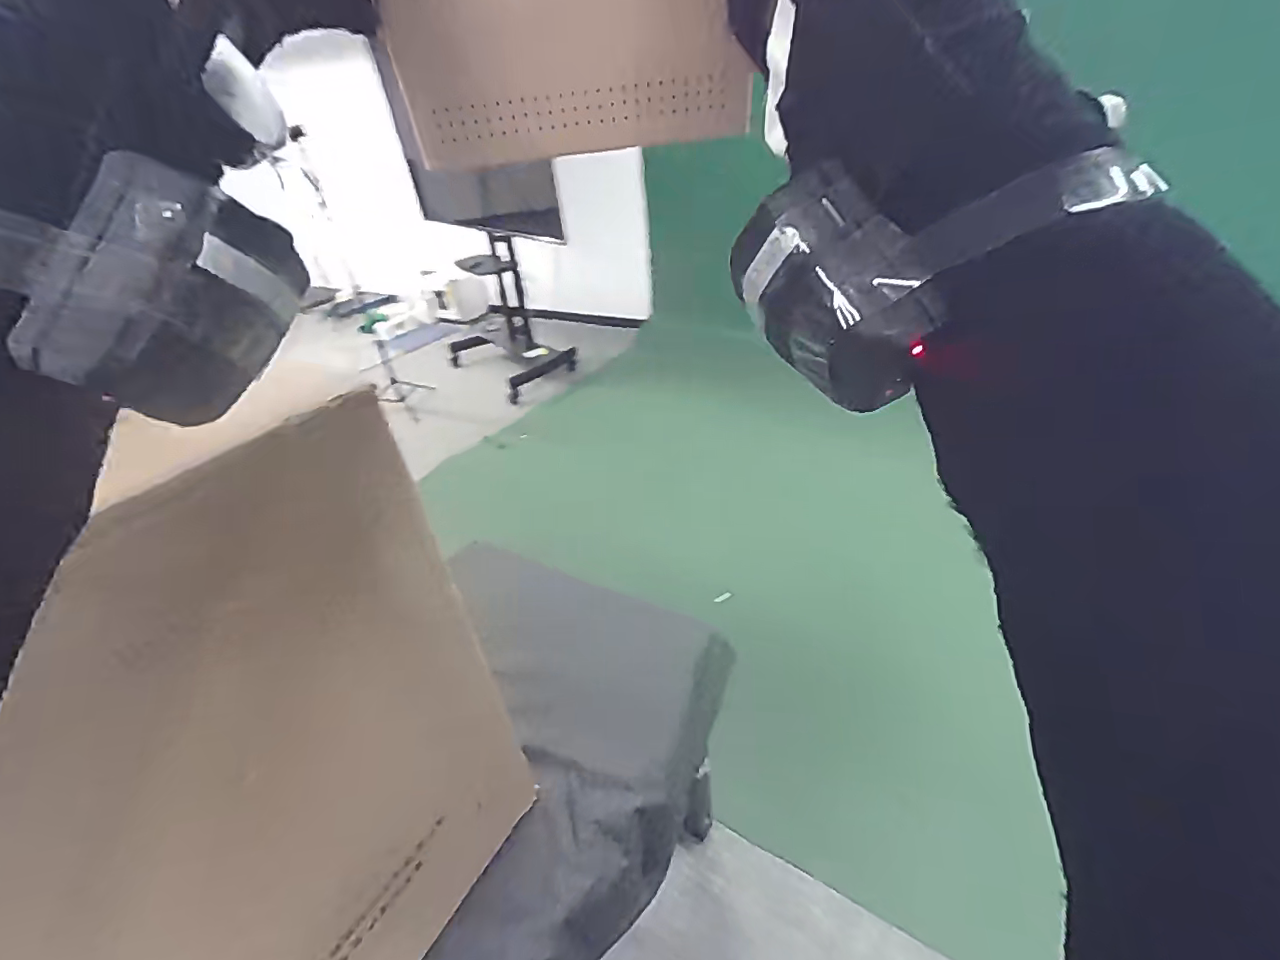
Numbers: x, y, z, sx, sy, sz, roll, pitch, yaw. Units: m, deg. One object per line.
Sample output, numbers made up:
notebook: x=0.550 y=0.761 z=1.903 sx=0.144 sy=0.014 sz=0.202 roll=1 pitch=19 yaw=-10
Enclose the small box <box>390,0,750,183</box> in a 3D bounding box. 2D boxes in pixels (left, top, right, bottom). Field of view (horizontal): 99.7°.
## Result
small box: x=-0.037 y=-0.288 z=0.302 sx=0.179 sy=0.176 sz=0.168 roll=-8 pitch=44 yaw=0
